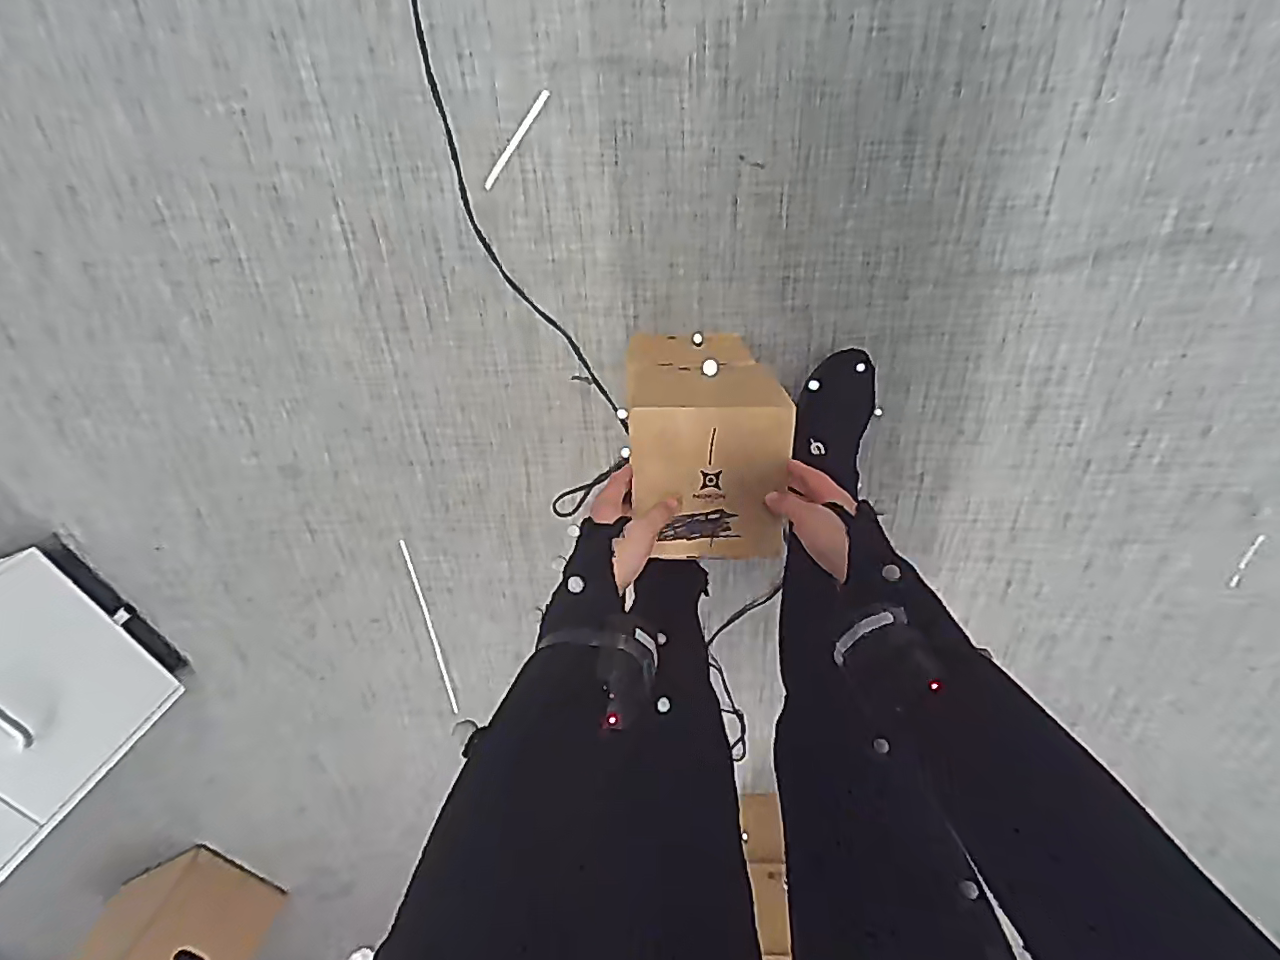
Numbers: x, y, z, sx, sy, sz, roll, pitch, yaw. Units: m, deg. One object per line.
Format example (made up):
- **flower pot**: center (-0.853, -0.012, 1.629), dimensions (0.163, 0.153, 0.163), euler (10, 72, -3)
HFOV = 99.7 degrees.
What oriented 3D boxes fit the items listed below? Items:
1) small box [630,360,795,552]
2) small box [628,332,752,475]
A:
- **small box**: center (0.075, -0.034, 0.641), dimensions (0.168, 0.176, 0.179), euler (1, 116, 2)
- **small box**: center (0.071, -0.109, 0.788), dimensions (0.168, 0.176, 0.179), euler (1, 117, 3)
